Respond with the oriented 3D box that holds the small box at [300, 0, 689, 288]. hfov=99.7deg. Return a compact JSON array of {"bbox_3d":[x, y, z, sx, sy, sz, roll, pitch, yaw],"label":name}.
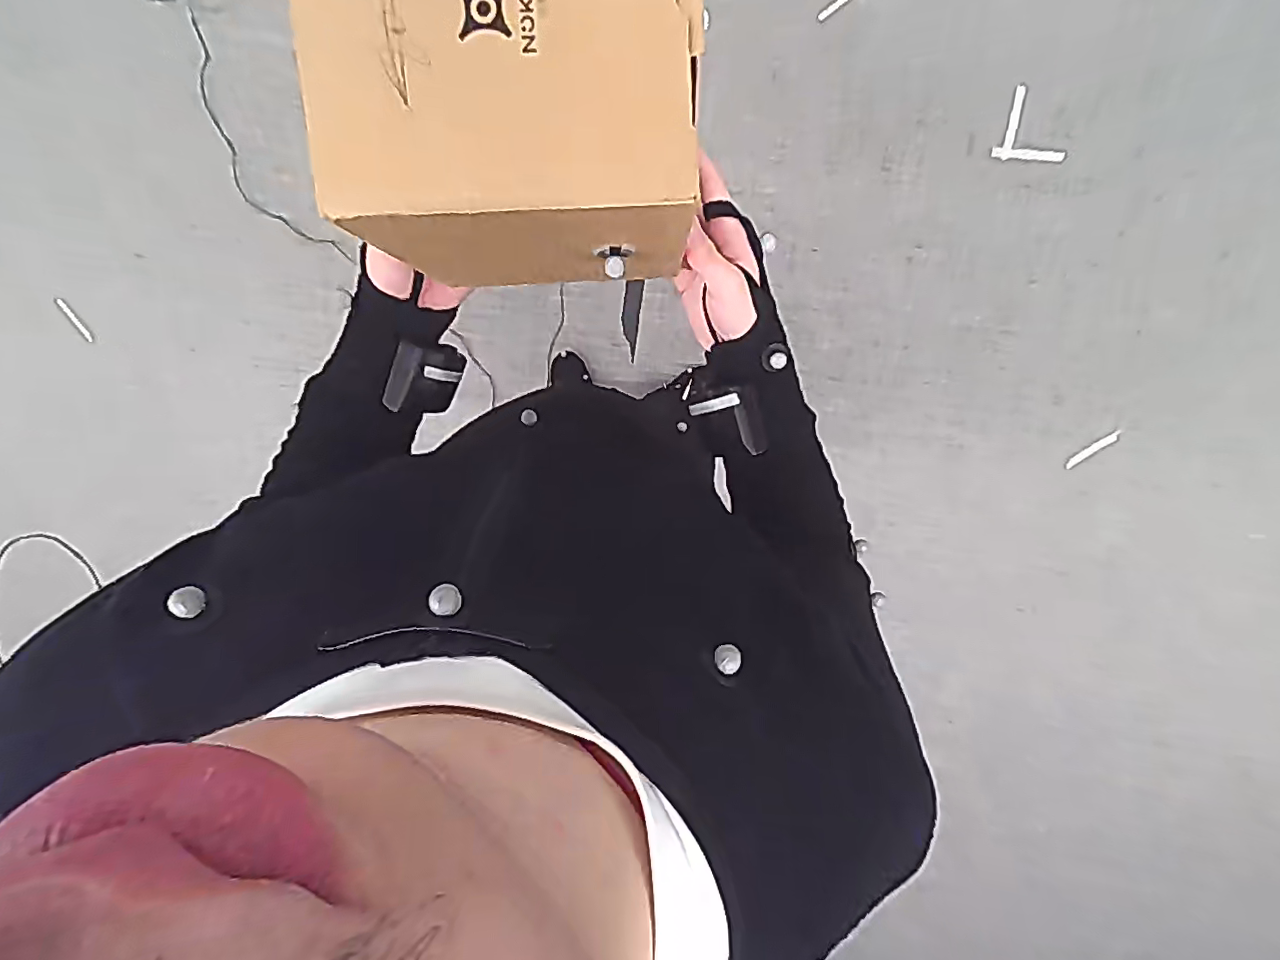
[{"bbox_3d":[-0.066,-0.218,0.325,0.179,0.176,0.168,-2,98,1],"label":"small box"}]
